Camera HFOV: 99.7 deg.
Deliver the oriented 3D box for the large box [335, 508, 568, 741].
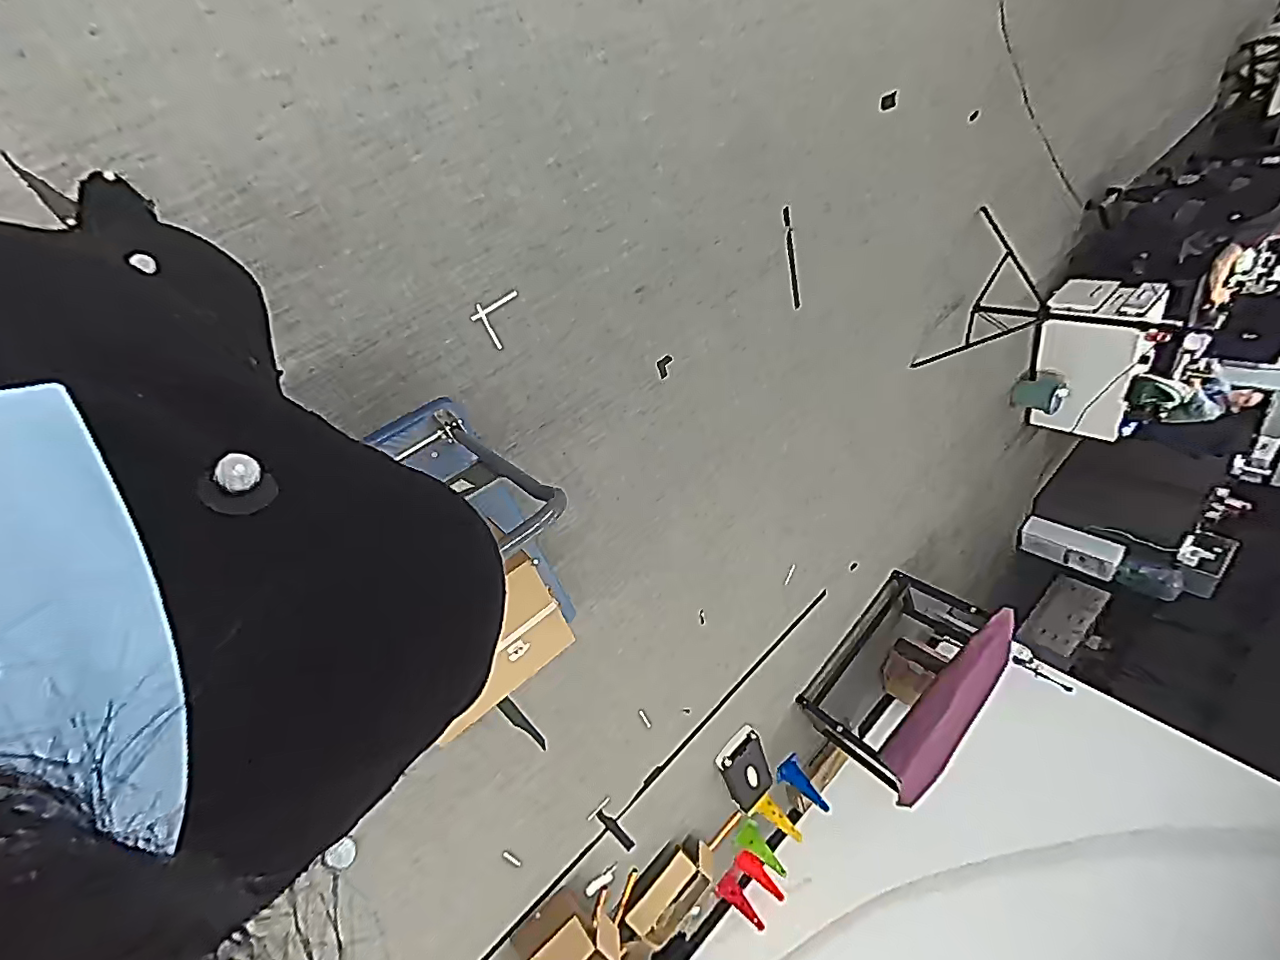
[{"bbox_3d":[-0.466,0.340,1.358,0.408,0.320,0.320,-36,128,-24],"label":"large box"}]
